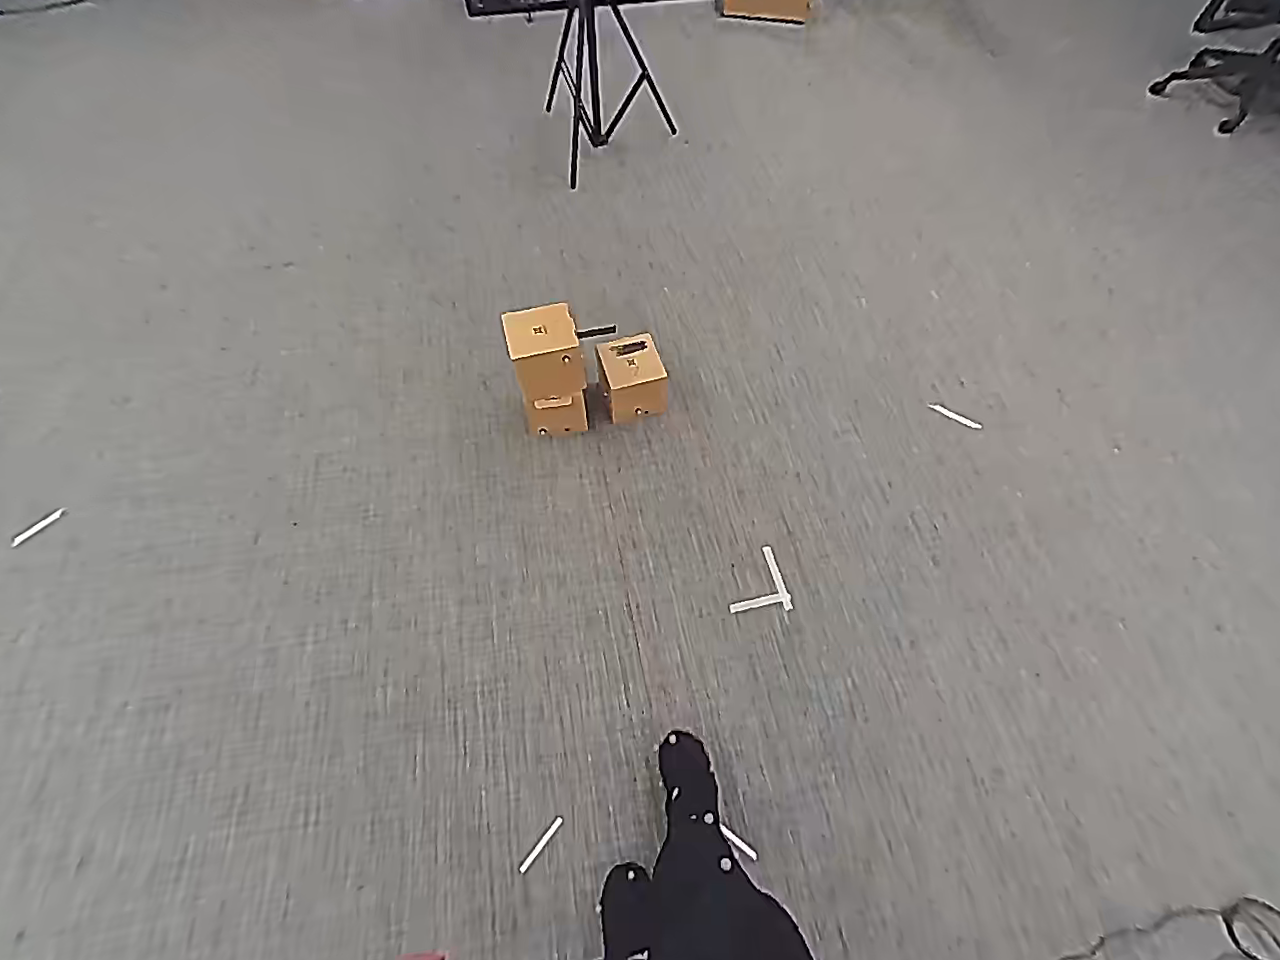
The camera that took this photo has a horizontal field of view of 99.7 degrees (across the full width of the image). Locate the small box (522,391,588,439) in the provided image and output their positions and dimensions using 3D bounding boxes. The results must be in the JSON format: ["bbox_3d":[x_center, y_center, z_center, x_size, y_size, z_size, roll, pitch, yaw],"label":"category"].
[{"bbox_3d":[-0.248,-0.234,1.581,0.168,0.176,0.179,-8,59,-4],"label":"small box"}]

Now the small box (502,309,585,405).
[{"bbox_3d":[-0.254,-0.323,1.444,0.179,0.176,0.168,-14,61,-8],"label":"small box"}]
